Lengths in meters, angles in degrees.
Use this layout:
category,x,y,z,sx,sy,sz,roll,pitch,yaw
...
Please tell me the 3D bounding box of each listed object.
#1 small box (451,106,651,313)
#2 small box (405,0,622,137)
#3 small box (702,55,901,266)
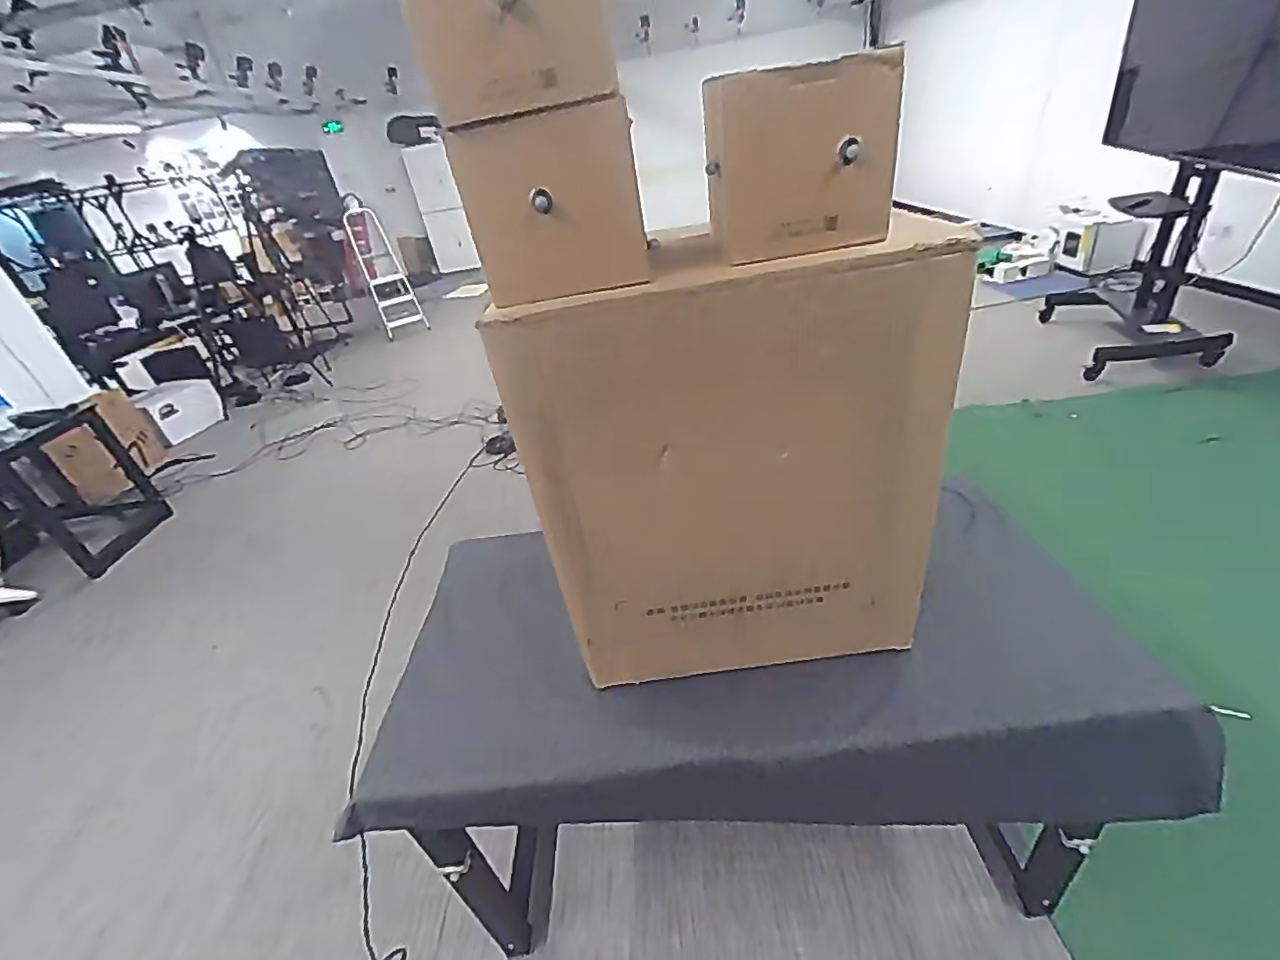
category,x,y,z,sx,sy,sz,roll,pitch,yaw
small box,-0.084,-0.302,0.603,0.179,0.176,0.168,-9,35,0
small box,-0.114,-0.435,0.512,0.168,0.176,0.179,-10,35,1
small box,0.164,-0.344,0.598,0.168,0.176,0.179,-7,33,3
